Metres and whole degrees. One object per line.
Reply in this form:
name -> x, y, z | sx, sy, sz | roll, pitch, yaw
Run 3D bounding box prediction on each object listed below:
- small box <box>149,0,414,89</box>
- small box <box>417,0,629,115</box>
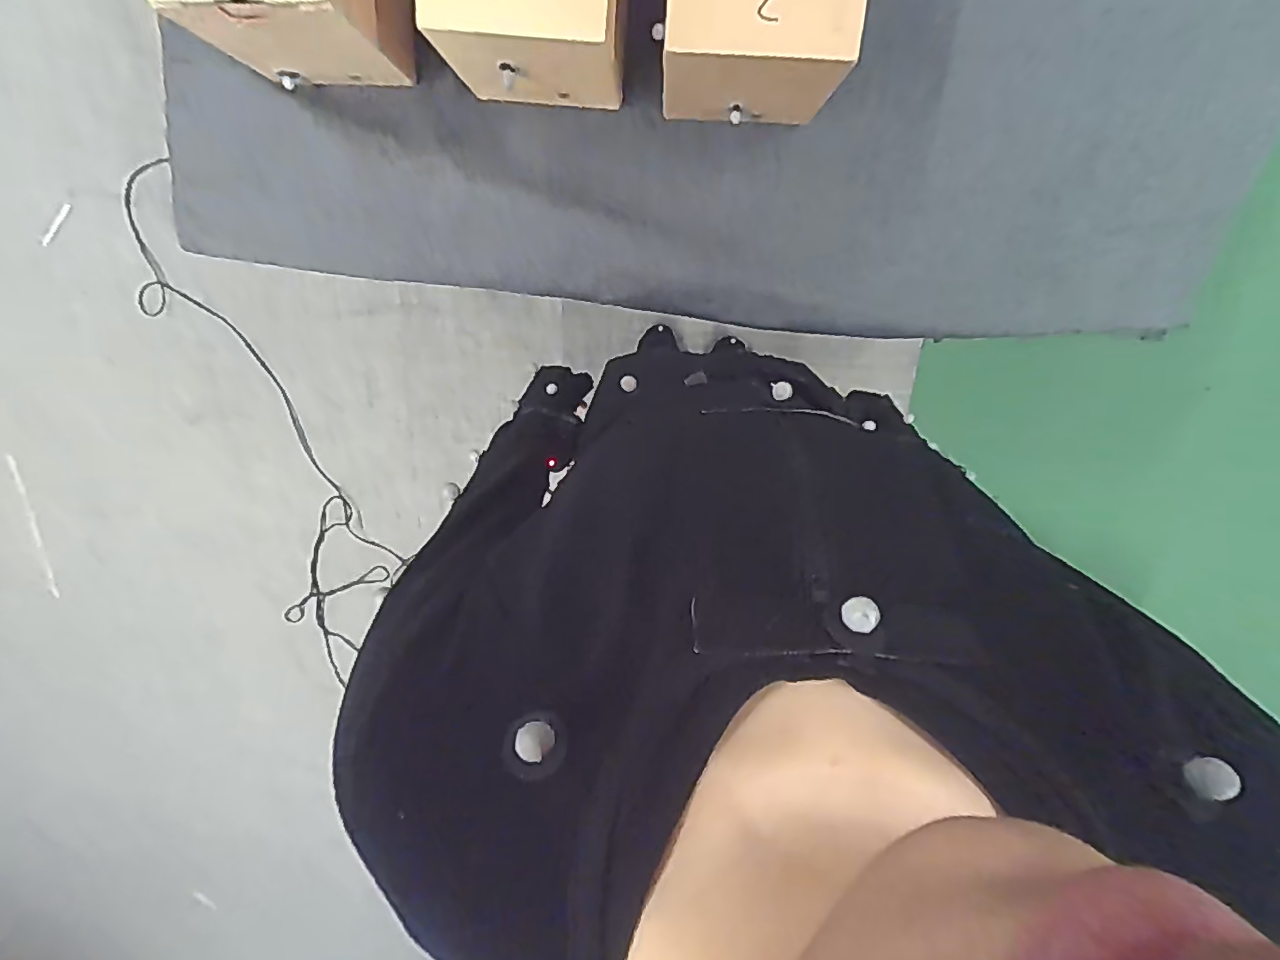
small box -> -0.332, -0.502, 0.514 | 0.168, 0.176, 0.179 | 2, 106, 2
small box -> -0.097, -0.476, 0.513 | 0.168, 0.176, 0.179 | 5, 106, 1
